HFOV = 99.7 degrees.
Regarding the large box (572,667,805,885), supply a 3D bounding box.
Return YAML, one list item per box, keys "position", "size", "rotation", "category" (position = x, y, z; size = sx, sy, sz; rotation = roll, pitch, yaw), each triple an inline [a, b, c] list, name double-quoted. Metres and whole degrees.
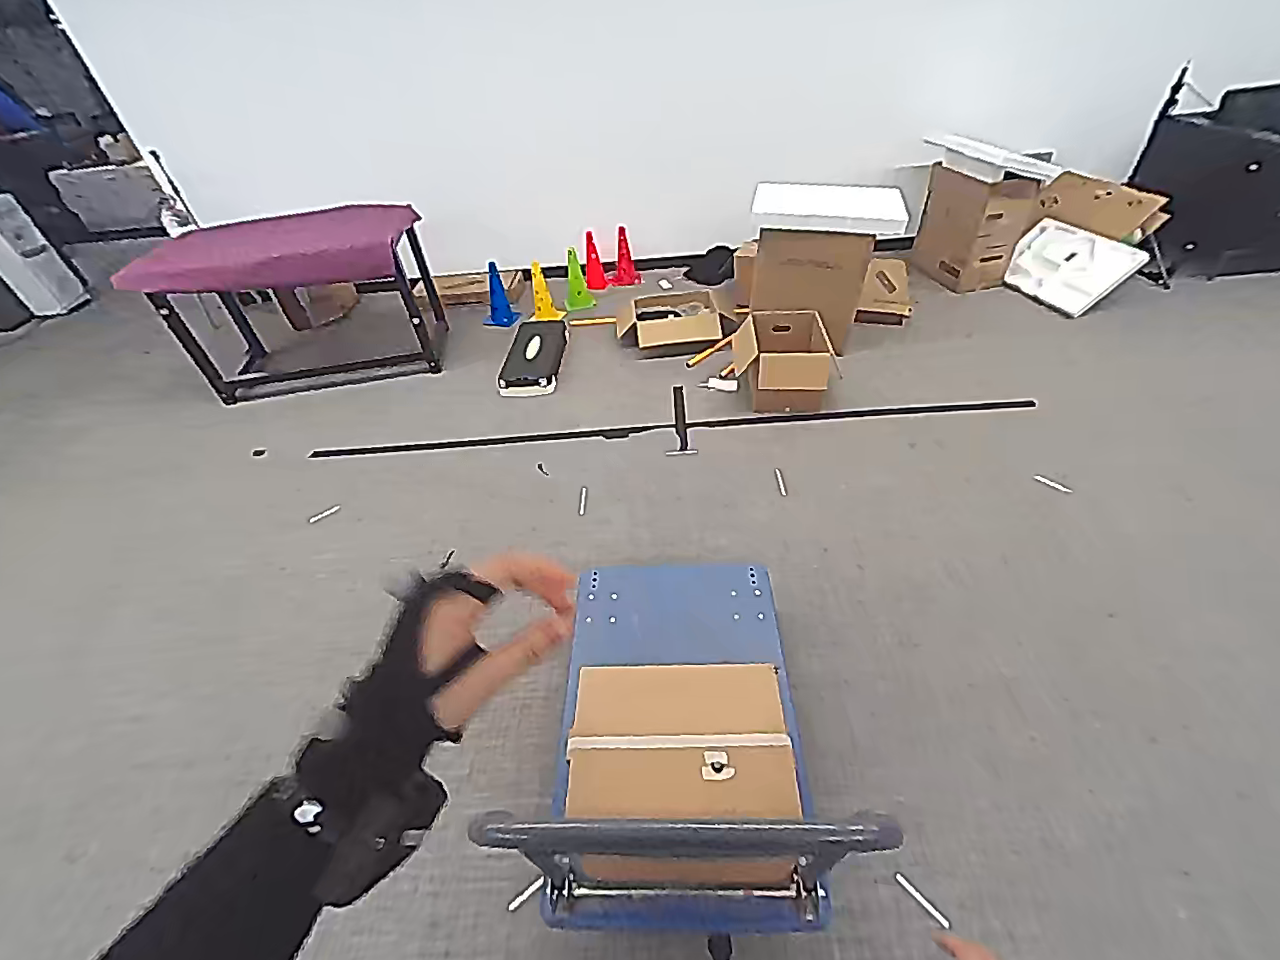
- position: [0.086, 0.611, 1.117]
  size: [0.408, 0.320, 0.320]
  rotation: [-2, 43, 2]
  category: "large box"
